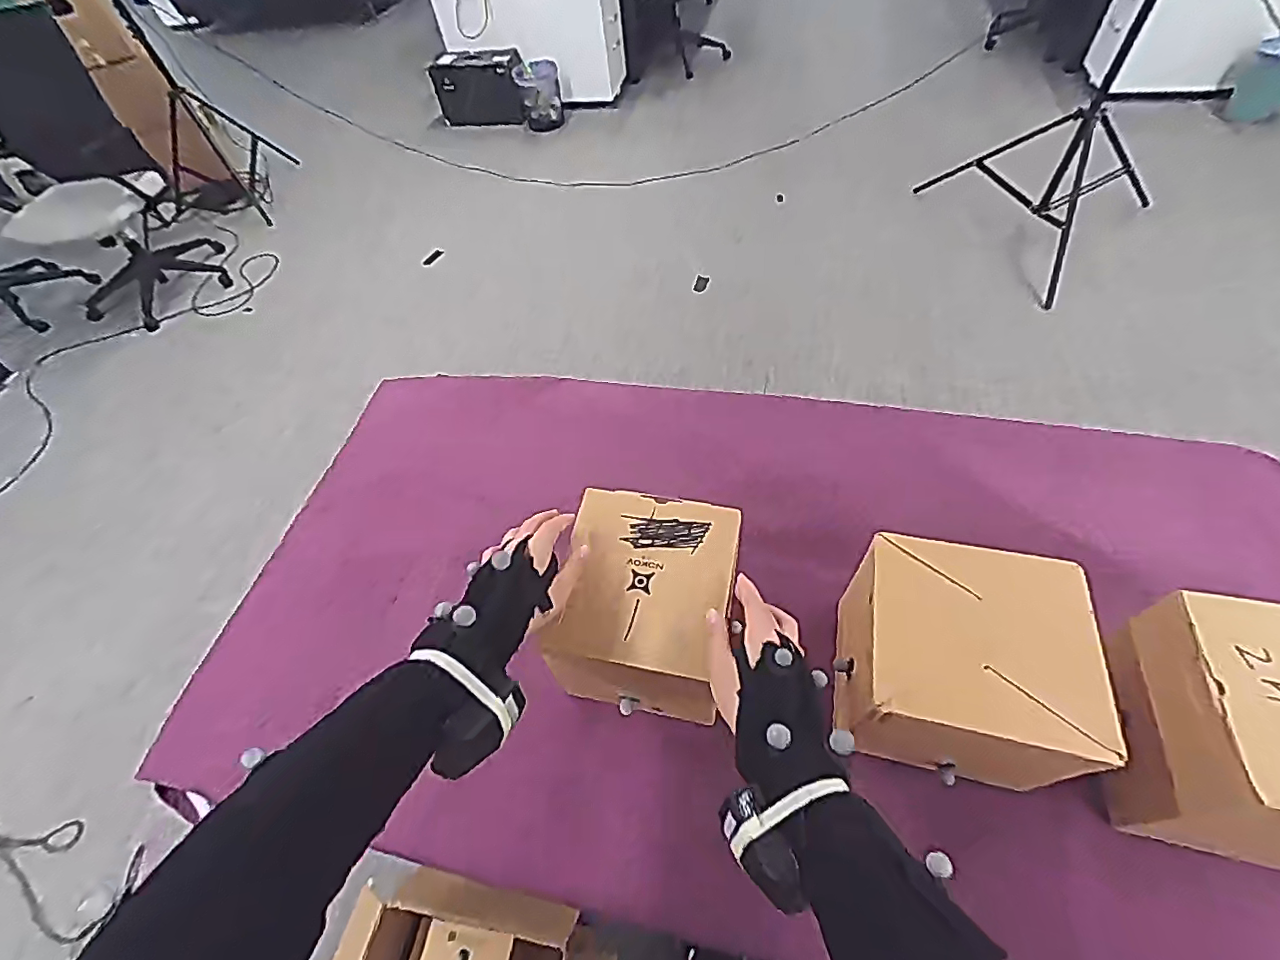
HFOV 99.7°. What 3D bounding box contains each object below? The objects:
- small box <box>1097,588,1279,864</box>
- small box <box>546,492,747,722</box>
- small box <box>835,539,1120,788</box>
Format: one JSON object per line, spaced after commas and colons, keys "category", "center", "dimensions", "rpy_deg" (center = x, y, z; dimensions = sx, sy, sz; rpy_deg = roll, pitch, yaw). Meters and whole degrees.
{"category": "small box", "center": [0.532, 0.217, 0.463], "dimensions": [0.179, 0.176, 0.168], "rpy_deg": [8, 53, 13]}
{"category": "small box", "center": [0.018, 0.139, 0.585], "dimensions": [0.168, 0.176, 0.179], "rpy_deg": [7, 56, 12]}
{"category": "small box", "center": [0.298, 0.173, 0.522], "dimensions": [0.179, 0.176, 0.168], "rpy_deg": [8, 54, 13]}
